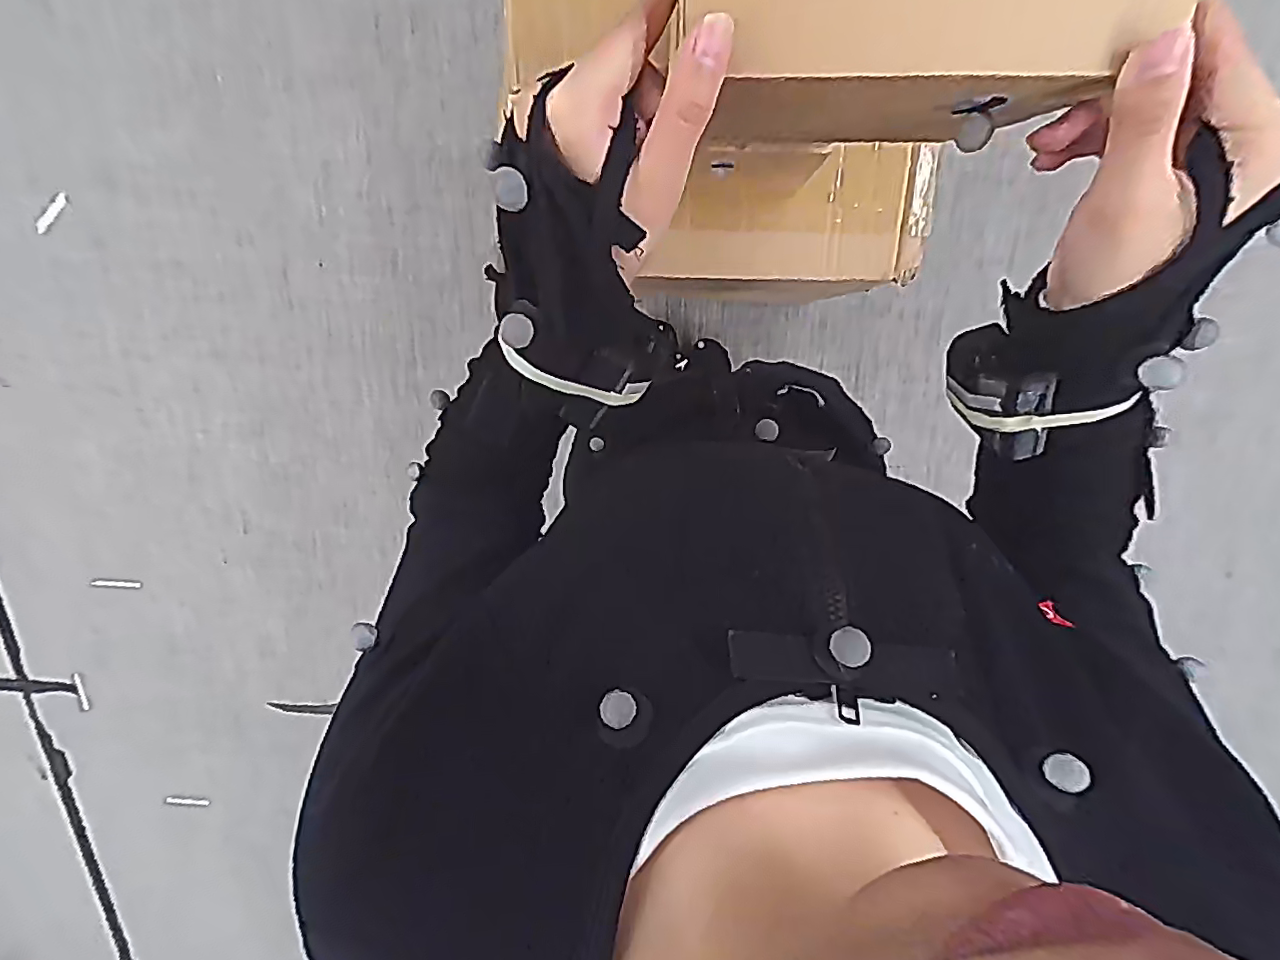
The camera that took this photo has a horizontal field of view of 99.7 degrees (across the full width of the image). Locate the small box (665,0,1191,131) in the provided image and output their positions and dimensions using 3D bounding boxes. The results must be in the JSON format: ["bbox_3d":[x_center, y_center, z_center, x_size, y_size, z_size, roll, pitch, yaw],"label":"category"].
[{"bbox_3d":[0.102,-0.257,0.226,0.179,0.176,0.168,1,115,2],"label":"small box"}]

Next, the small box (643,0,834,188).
[{"bbox_3d":[0.099,-0.408,0.552,0.179,0.176,0.168,3,106,3],"label":"small box"}]
